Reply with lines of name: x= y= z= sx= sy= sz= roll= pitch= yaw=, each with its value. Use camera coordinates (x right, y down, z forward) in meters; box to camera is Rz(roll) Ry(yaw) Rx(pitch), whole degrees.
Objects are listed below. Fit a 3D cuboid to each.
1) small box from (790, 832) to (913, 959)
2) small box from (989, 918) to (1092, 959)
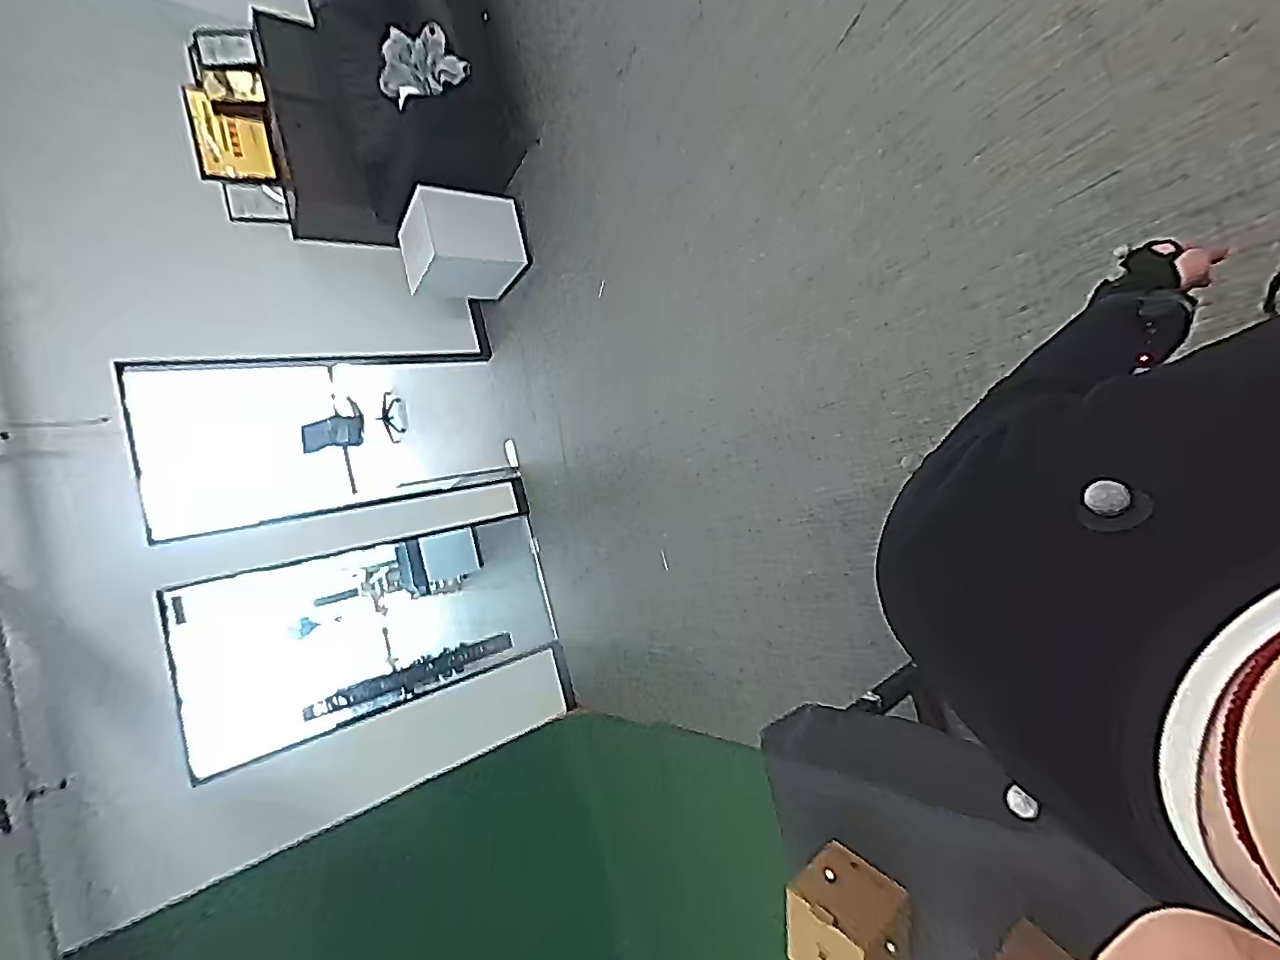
small box: x=0.417 y=0.851 z=1.066 sx=0.168 sy=0.176 sz=0.179 roll=11 pitch=108 yaw=54
small box: x=0.603 y=0.801 z=0.796 sx=0.179 sy=0.176 sz=0.168 roll=35 pitch=124 yaw=45
